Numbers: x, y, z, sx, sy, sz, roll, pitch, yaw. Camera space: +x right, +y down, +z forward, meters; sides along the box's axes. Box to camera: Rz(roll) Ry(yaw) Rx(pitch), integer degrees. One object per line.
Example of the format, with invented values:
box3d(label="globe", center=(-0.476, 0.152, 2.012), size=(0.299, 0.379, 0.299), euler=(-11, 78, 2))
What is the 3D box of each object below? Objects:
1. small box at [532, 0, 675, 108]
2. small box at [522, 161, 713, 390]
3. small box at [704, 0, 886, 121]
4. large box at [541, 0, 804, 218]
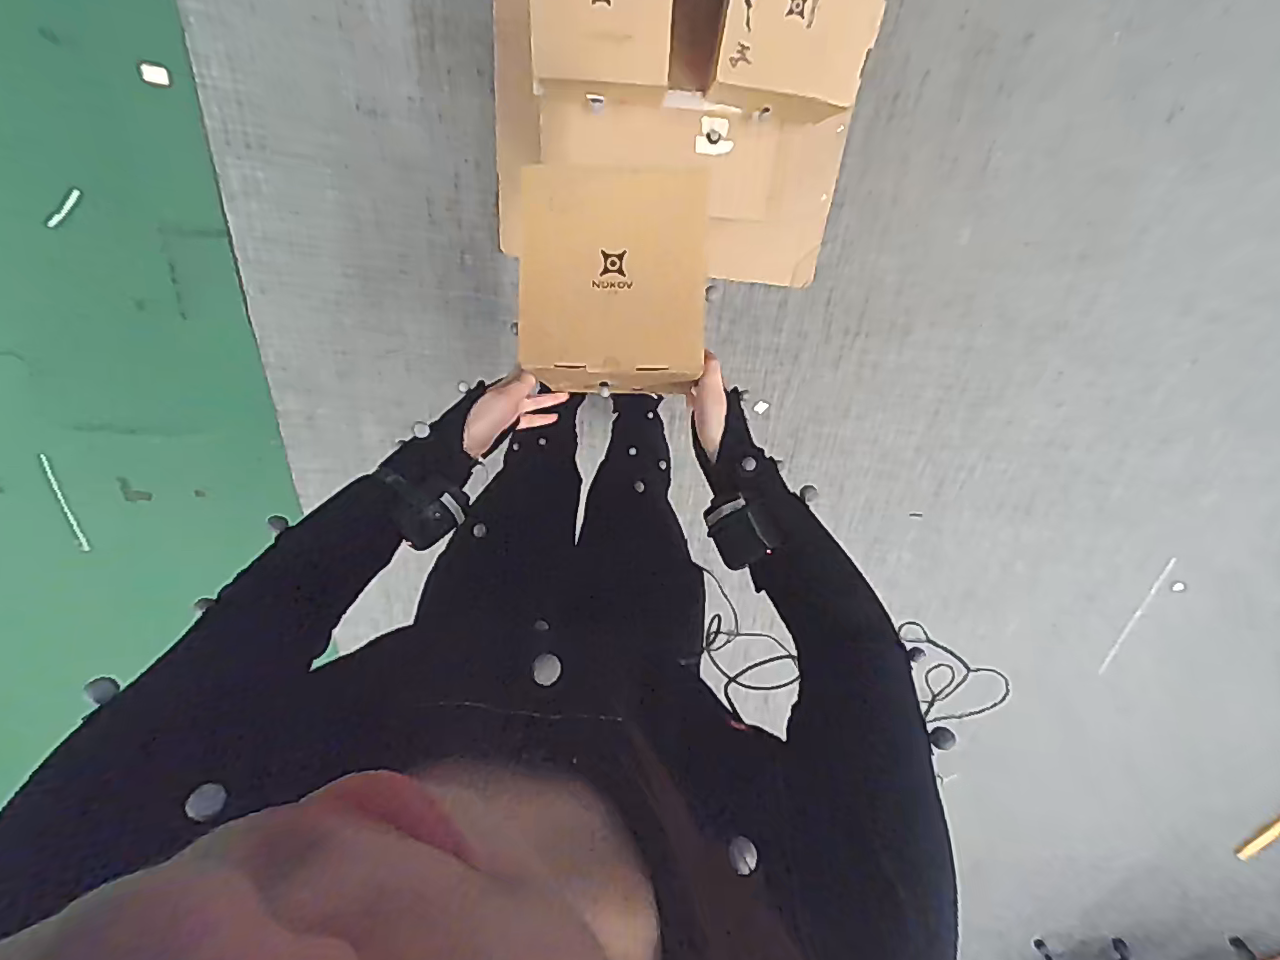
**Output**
box3d(label="small box", center=(-0.042, -0.590, 0.679), size=(0.168, 0.176, 0.179), euler=(2, 118, -1))
box3d(label="small box", center=(-0.021, -0.193, 0.556), size=(0.168, 0.176, 0.179), euler=(2, 93, 0))
box3d(label="small box", center=(0.189, -0.572, 0.686), size=(0.179, 0.176, 0.168), euler=(9, 118, -4))
box3d(label="large box", center=(0.048, -0.637, 0.930), size=(0.408, 0.320, 0.320), euler=(3, 119, -3))
